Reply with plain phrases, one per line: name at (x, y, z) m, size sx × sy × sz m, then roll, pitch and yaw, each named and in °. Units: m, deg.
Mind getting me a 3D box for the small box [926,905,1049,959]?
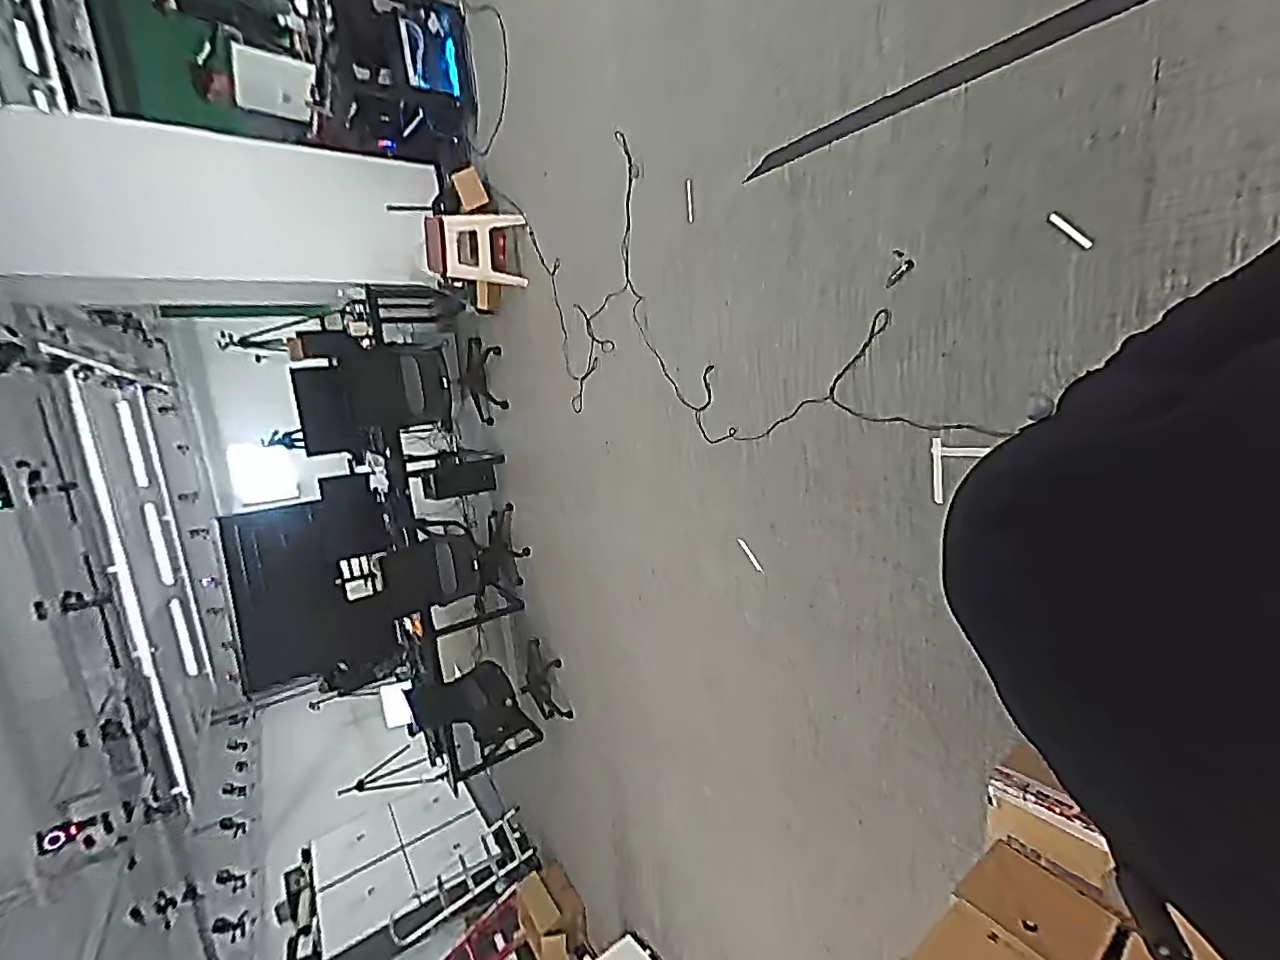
small box at (0.505, 0.764, 0.759) m, size 0.168 × 0.176 × 0.179 m, roll 14°, pitch 112°, yaw 55°
